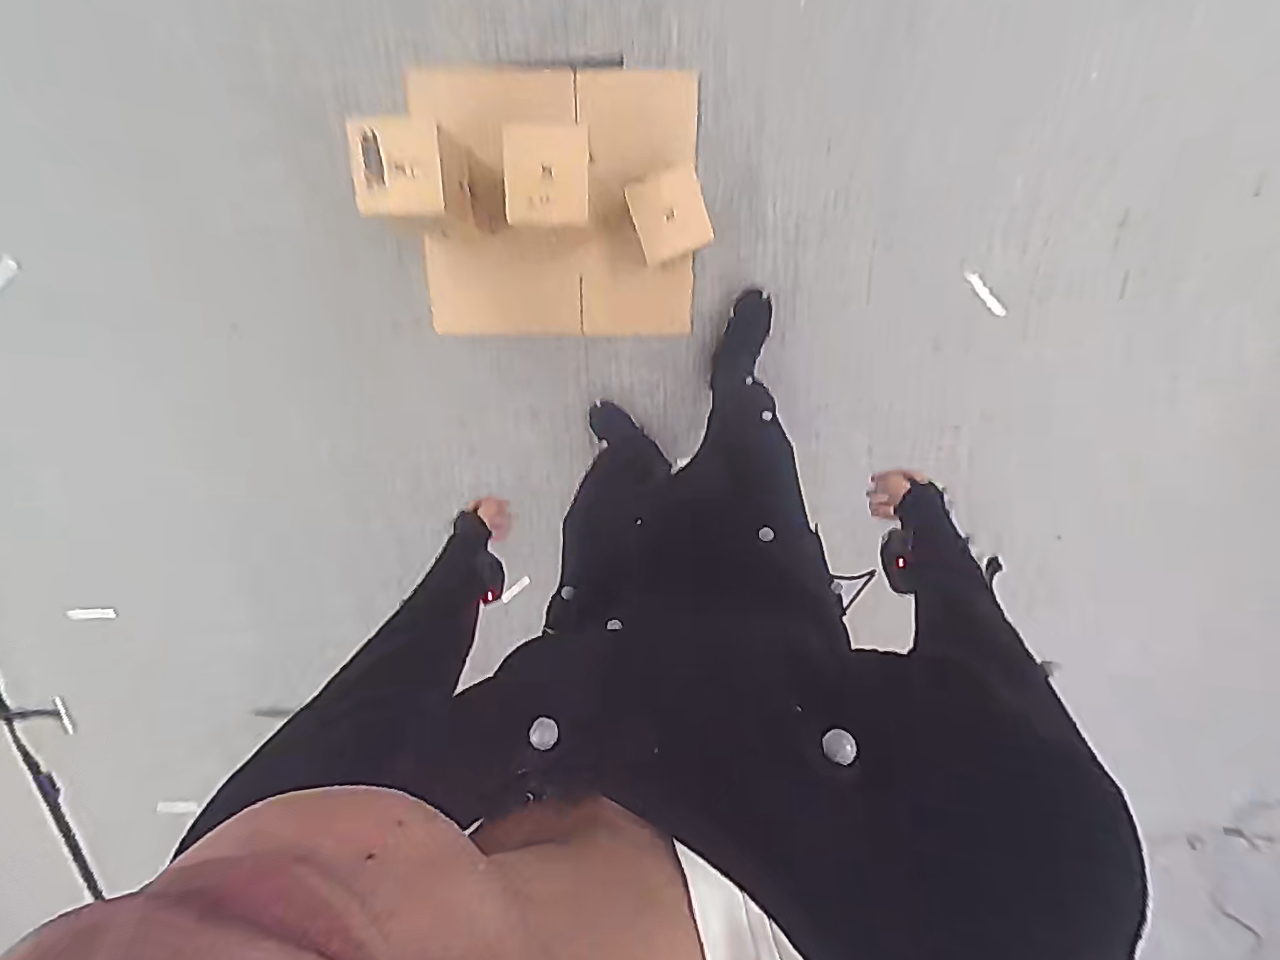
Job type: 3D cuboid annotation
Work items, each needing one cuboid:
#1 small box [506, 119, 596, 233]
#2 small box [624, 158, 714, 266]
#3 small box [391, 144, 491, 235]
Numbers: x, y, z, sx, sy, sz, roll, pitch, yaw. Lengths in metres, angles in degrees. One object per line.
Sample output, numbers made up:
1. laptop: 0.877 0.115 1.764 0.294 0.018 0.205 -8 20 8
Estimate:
1. small box: -0.182 -0.627 1.134 0.168 0.176 0.179 2 108 -1
2. small box: 0.067 -0.635 1.305 0.168 0.176 0.179 -19 106 7
3. small box: -0.460 -0.684 1.284 0.179 0.176 0.168 0 108 1
